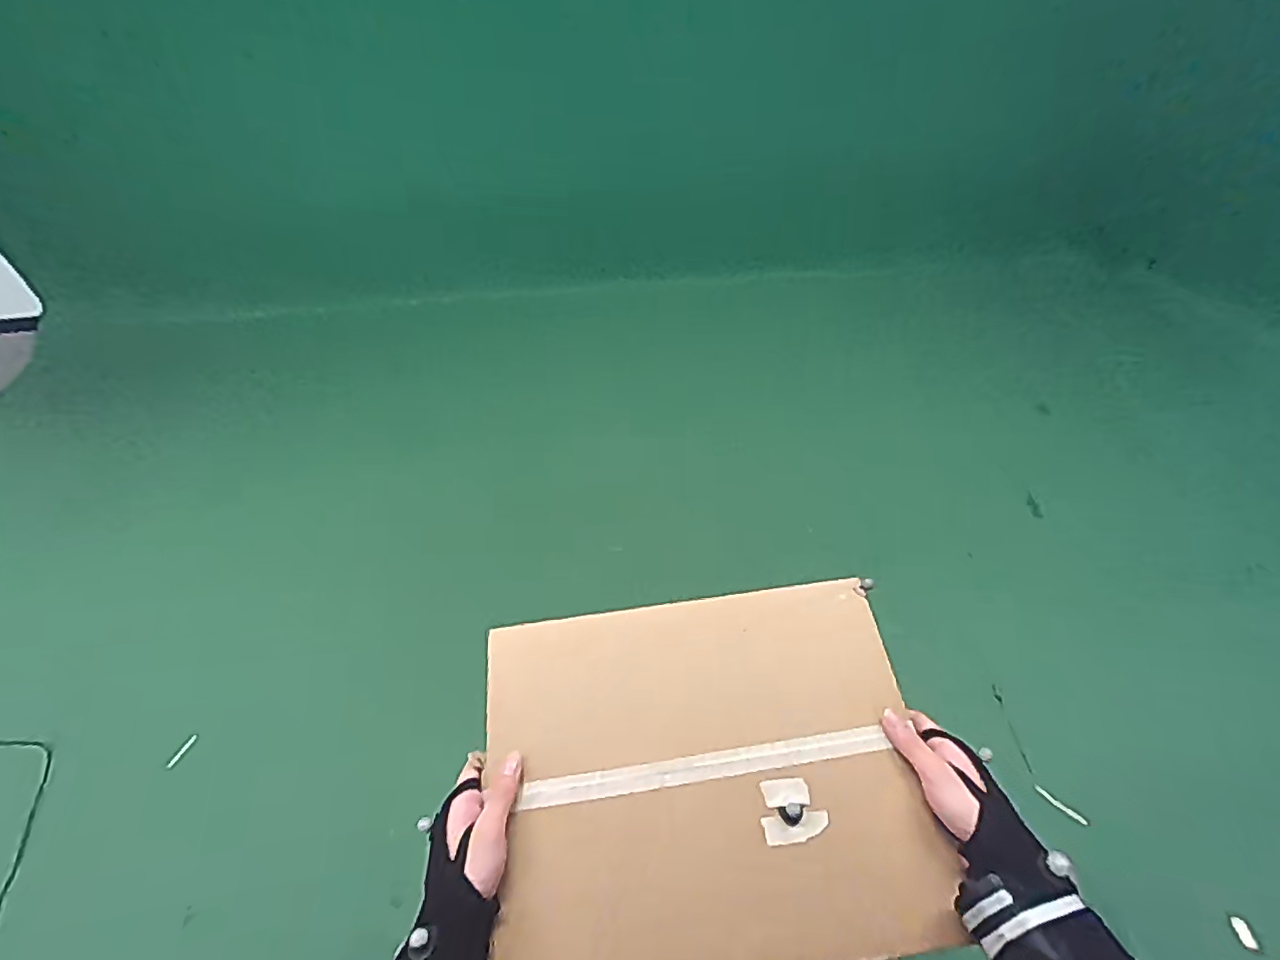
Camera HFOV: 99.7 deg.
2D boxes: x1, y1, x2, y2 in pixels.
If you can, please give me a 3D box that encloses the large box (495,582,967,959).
[{"bbox_3d":[0.062,0.348,0.646,0.408,0.320,0.320,-7,60,-4],"label":"large box"}]
